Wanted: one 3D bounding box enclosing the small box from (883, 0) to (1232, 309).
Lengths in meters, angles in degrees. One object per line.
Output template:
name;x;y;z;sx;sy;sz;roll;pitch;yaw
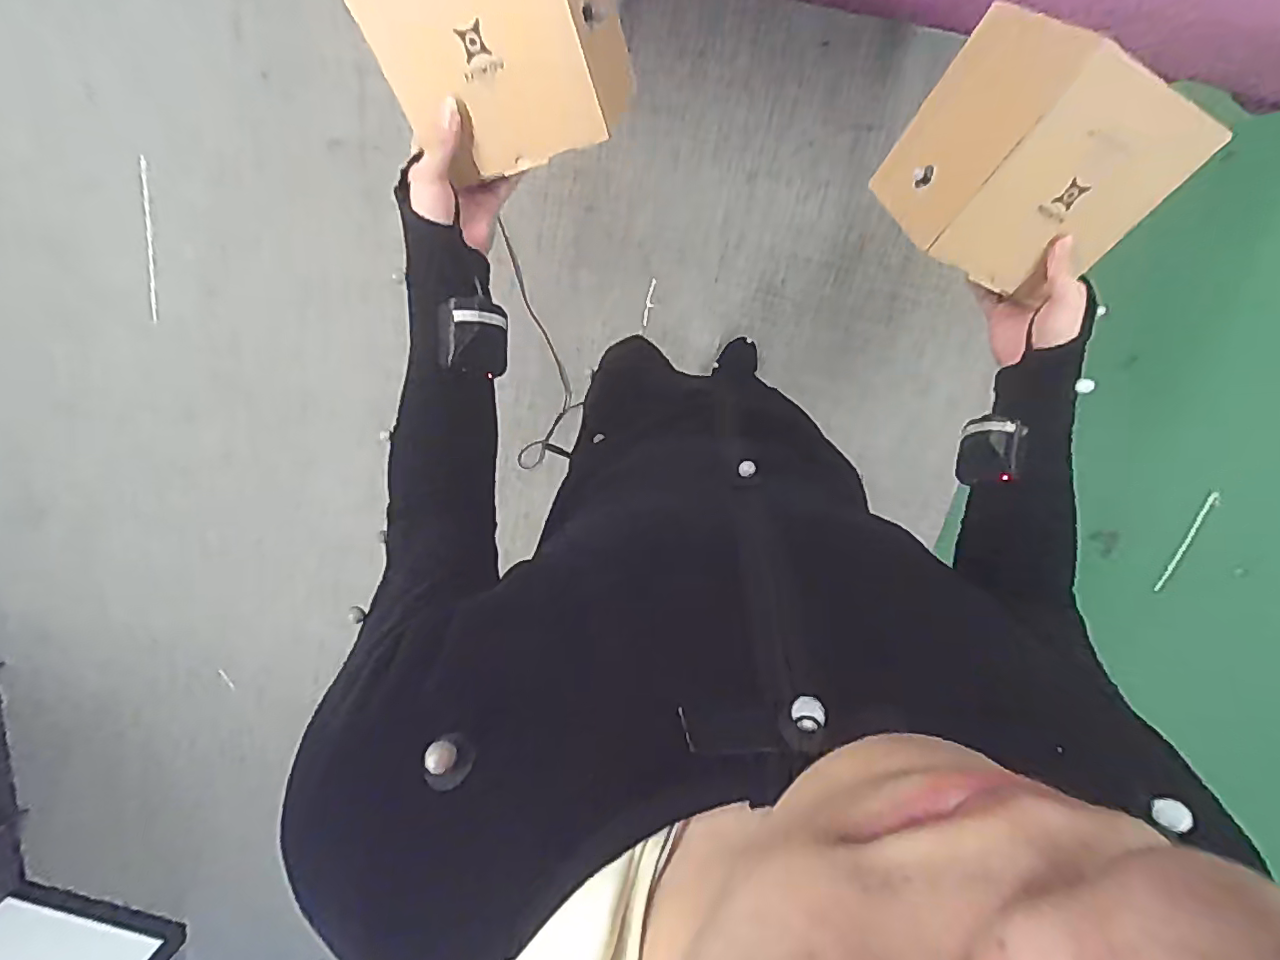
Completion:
small box;0.362;-0.304;0.514;0.168;0.176;0.179;14;136;-20

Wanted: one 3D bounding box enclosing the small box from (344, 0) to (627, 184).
small box;-0.118;-0.390;0.457;0.168;0.176;0.179;-7;137;16

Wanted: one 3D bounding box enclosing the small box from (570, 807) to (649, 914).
small box;-0.081;1.075;1.541;0.179;0.176;0.168;17;108;0
